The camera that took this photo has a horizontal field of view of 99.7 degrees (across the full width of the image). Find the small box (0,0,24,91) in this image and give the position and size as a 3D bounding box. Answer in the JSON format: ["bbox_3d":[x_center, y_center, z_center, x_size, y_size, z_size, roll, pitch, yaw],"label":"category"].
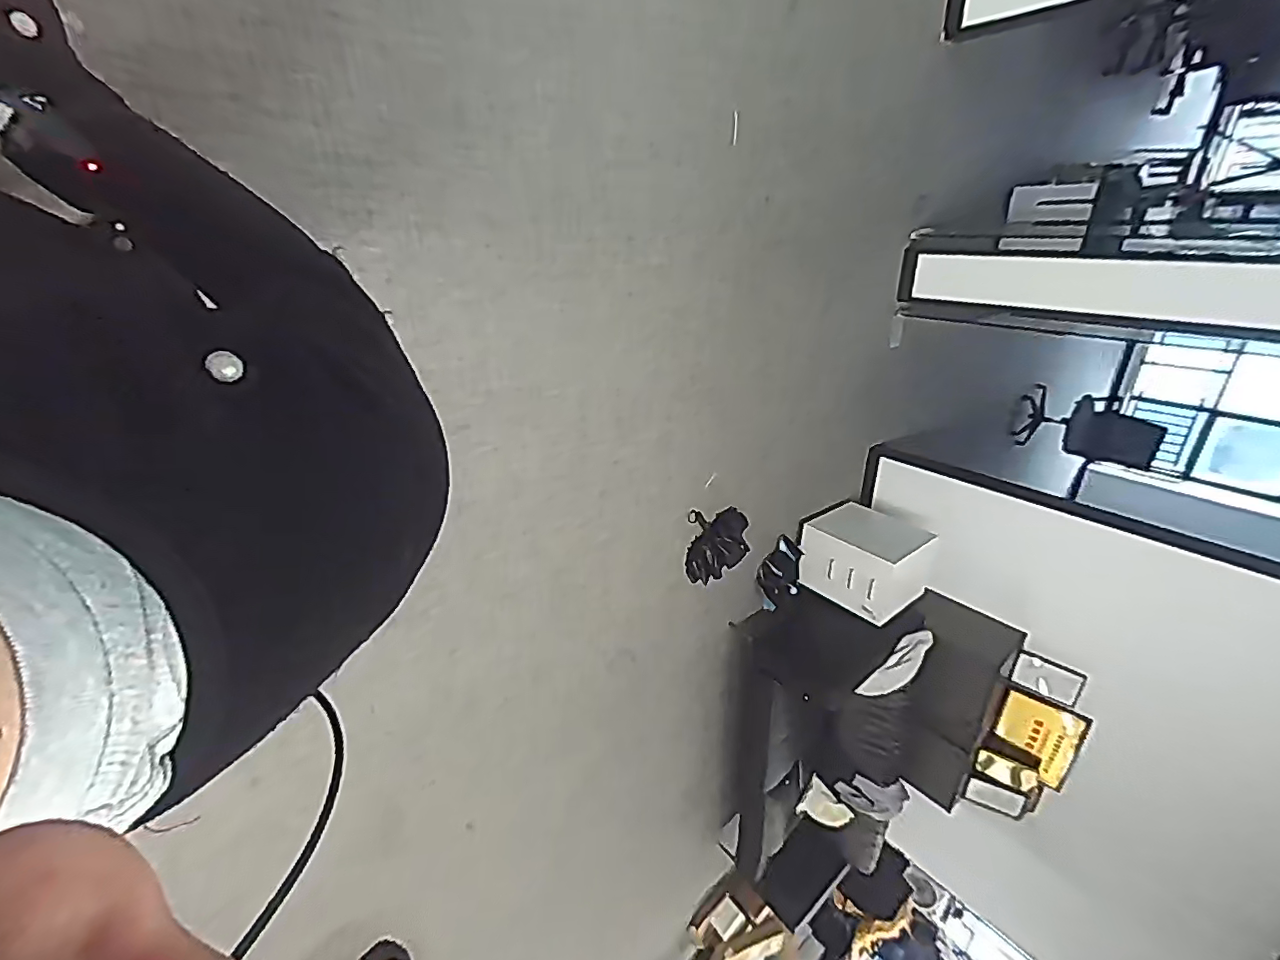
[{"bbox_3d":[-0.585,-0.398,0.376,0.179,0.176,0.168,-16,115,-36],"label":"small box"}]
